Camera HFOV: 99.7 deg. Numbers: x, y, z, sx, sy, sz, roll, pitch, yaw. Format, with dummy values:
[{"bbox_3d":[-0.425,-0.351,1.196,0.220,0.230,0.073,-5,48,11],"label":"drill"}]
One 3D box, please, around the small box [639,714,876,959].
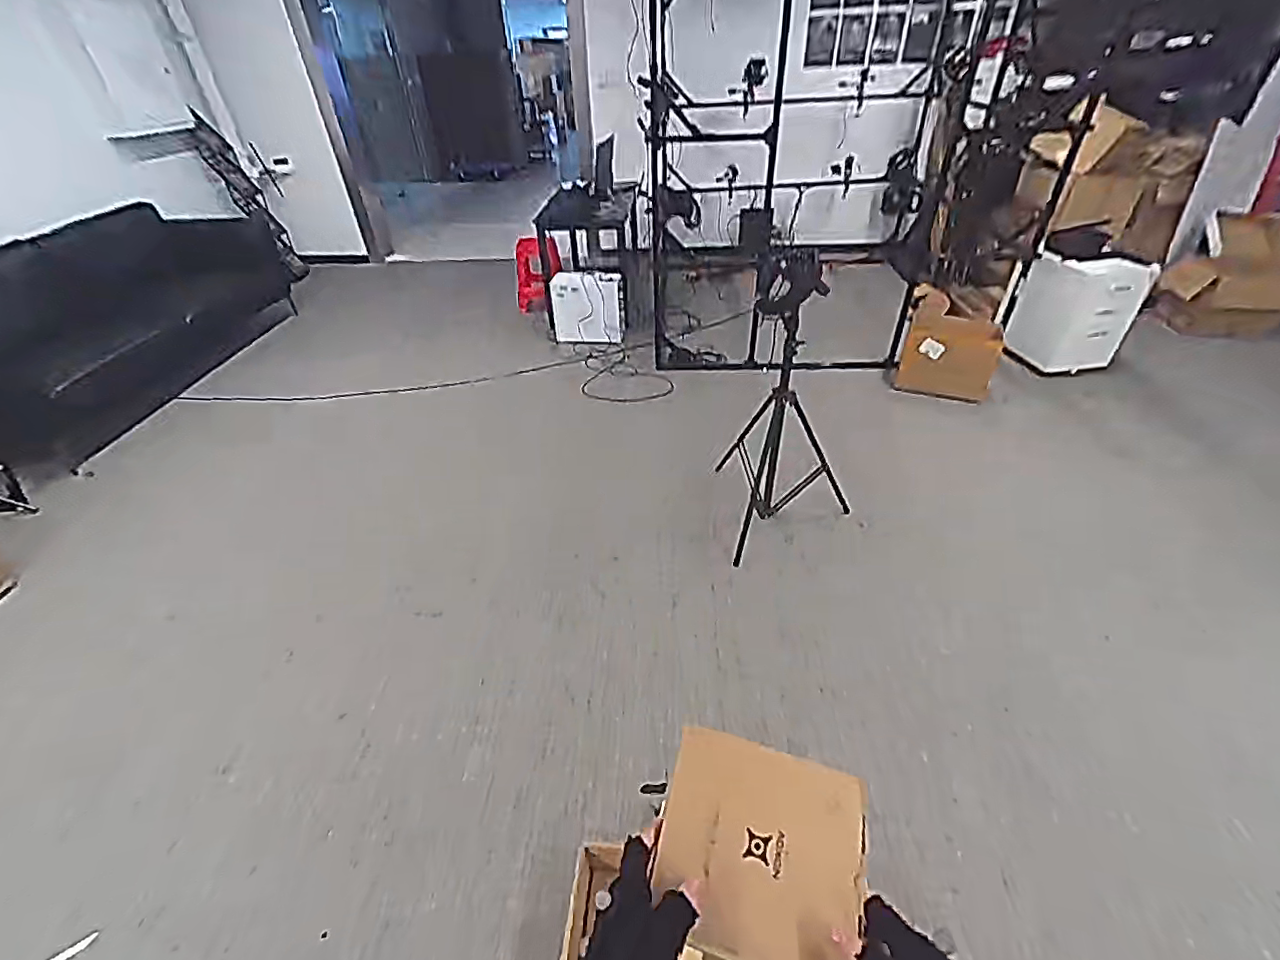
[{"bbox_3d":[0.105,0.351,0.516,0.179,0.176,0.168,14,52,8],"label":"small box"}]
